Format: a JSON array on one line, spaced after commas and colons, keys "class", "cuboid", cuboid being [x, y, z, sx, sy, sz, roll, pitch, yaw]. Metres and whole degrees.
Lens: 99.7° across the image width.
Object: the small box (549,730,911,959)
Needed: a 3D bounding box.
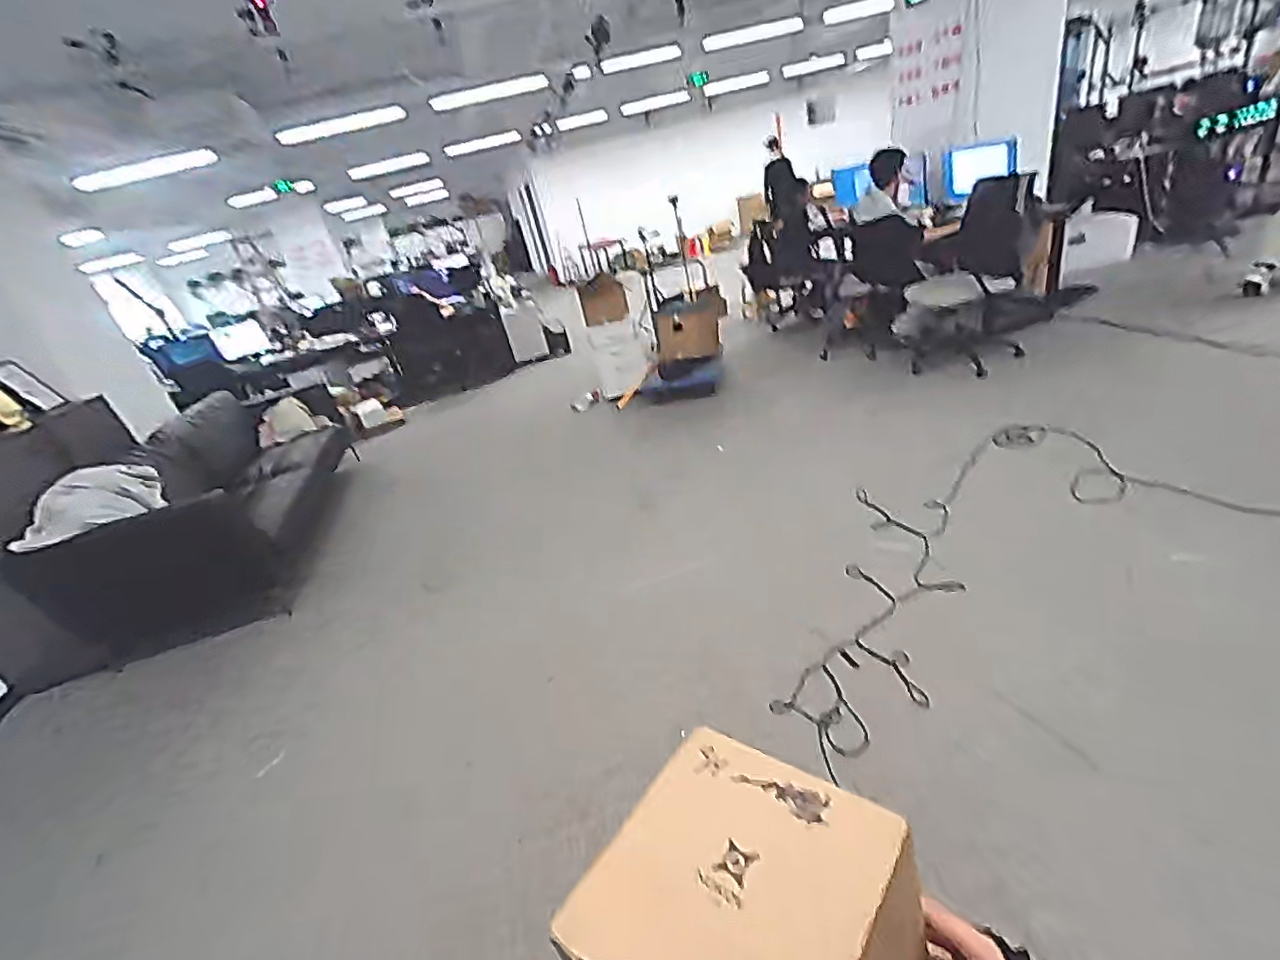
[{"class": "small box", "cuboid": [0.075, 0.323, 0.372, 0.168, 0.176, 0.179, 5, 31, 43]}]
